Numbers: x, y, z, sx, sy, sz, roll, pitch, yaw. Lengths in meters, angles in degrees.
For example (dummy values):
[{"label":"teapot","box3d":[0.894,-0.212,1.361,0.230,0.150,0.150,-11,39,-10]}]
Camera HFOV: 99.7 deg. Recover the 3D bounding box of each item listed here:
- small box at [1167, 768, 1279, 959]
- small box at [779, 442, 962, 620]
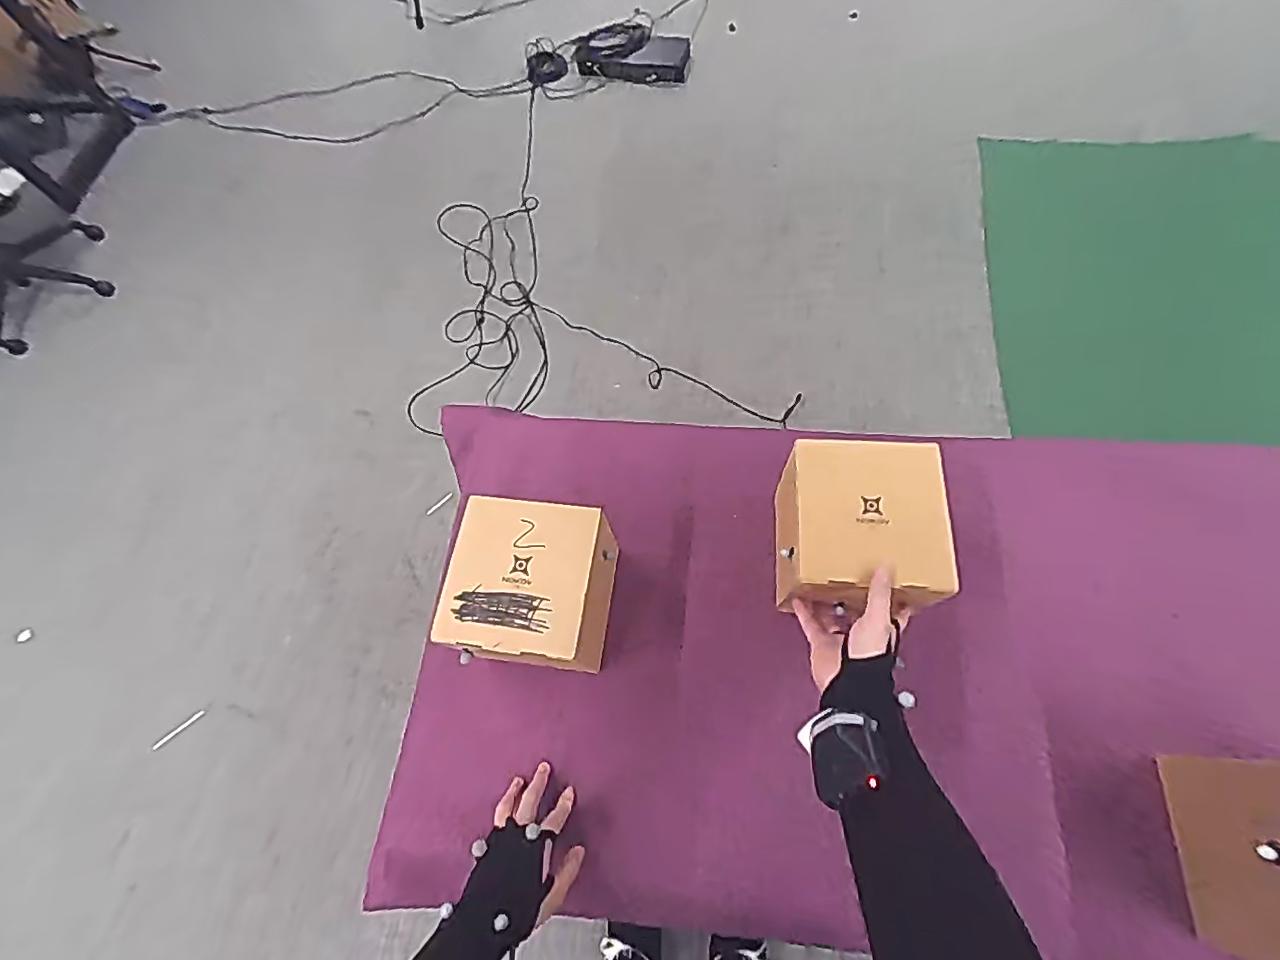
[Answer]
[{"label":"small box","box3d":[0.656,0.379,0.504,0.168,0.176,0.179,5,66,9]},{"label":"small box","box3d":[0.271,0.070,0.681,0.168,0.176,0.179,3,68,6]}]
